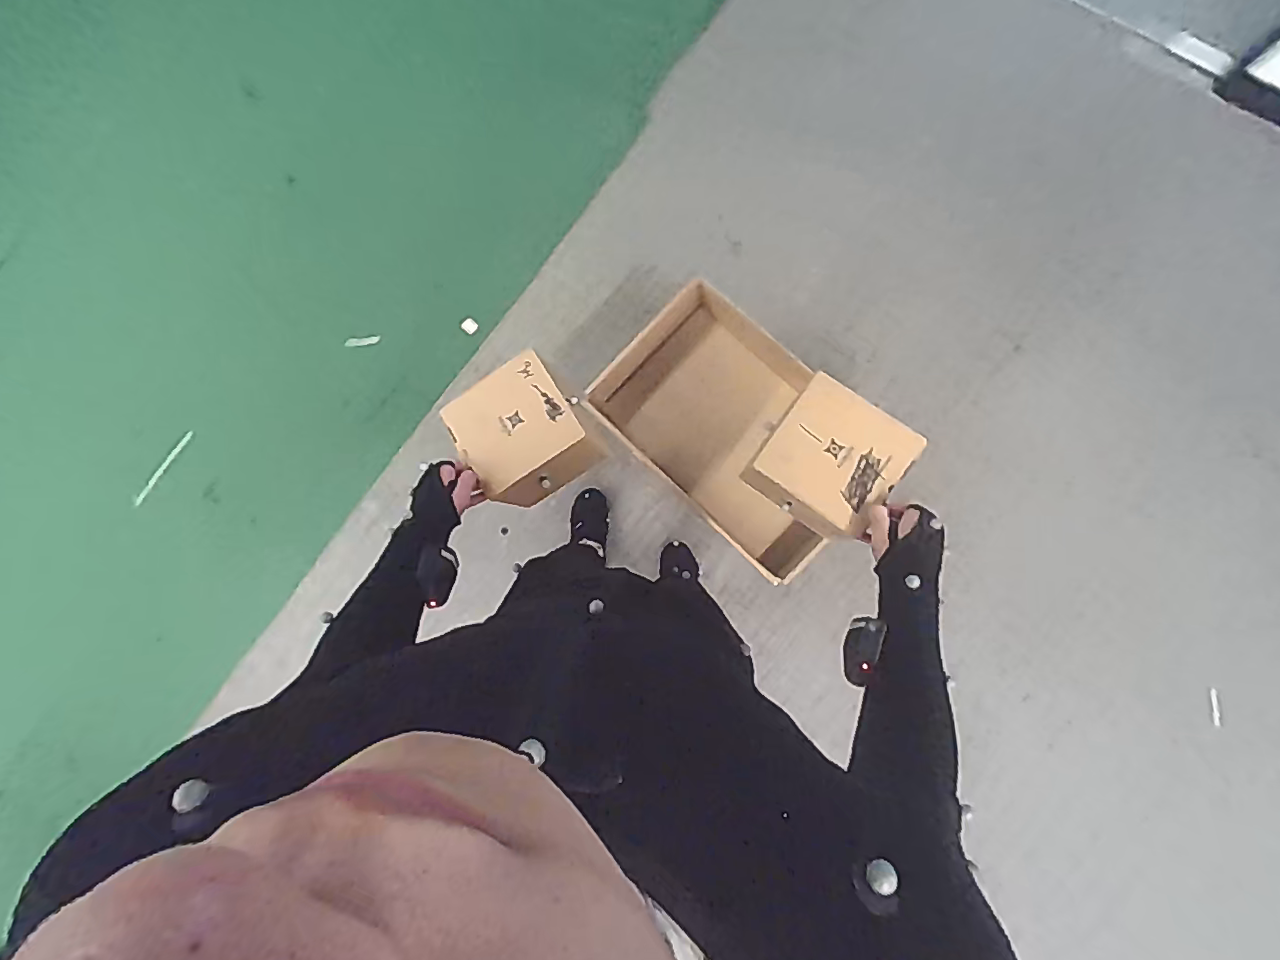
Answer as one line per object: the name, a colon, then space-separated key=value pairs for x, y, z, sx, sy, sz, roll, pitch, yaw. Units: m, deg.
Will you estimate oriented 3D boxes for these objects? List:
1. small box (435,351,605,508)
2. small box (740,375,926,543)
small box: x=-0.180 y=-0.067 z=0.860 sx=0.179 sy=0.176 sz=0.168 roll=-33 pitch=79 yaw=4
small box: x=0.270 y=-0.024 z=0.801 sx=0.179 sy=0.176 sz=0.168 roll=35 pitch=88 yaw=7
